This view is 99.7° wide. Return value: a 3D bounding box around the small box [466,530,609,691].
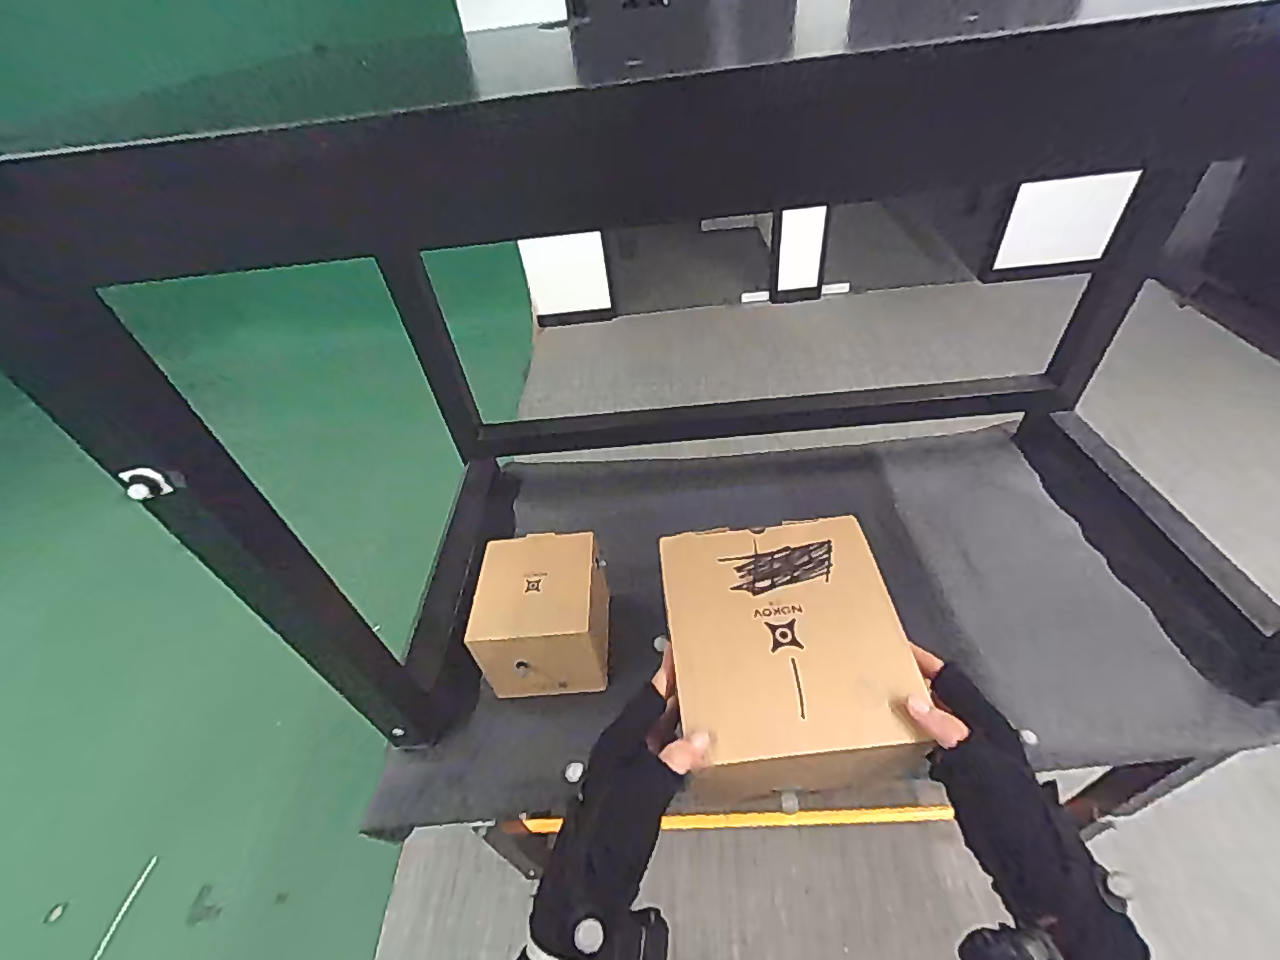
[{"bbox_3d":[-0.139,0.200,0.809,0.168,0.176,0.179,-5,42,3],"label":"small box"}]
